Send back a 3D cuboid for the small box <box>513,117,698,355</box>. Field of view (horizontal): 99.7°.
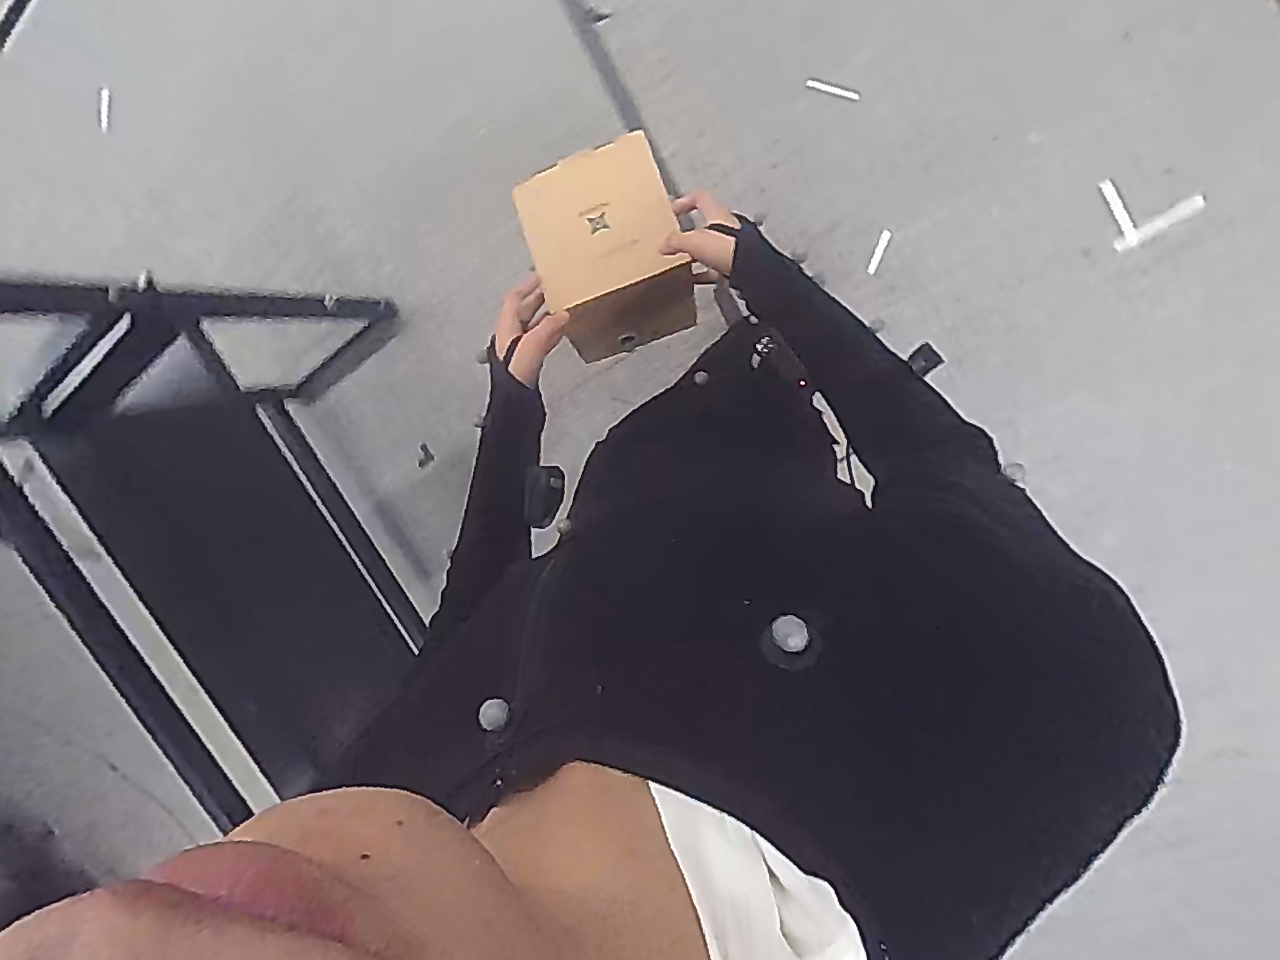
[{"bbox_3d":[-0.032,-0.280,0.659,0.168,0.176,0.179,-18,80,6],"label":"small box"}]
